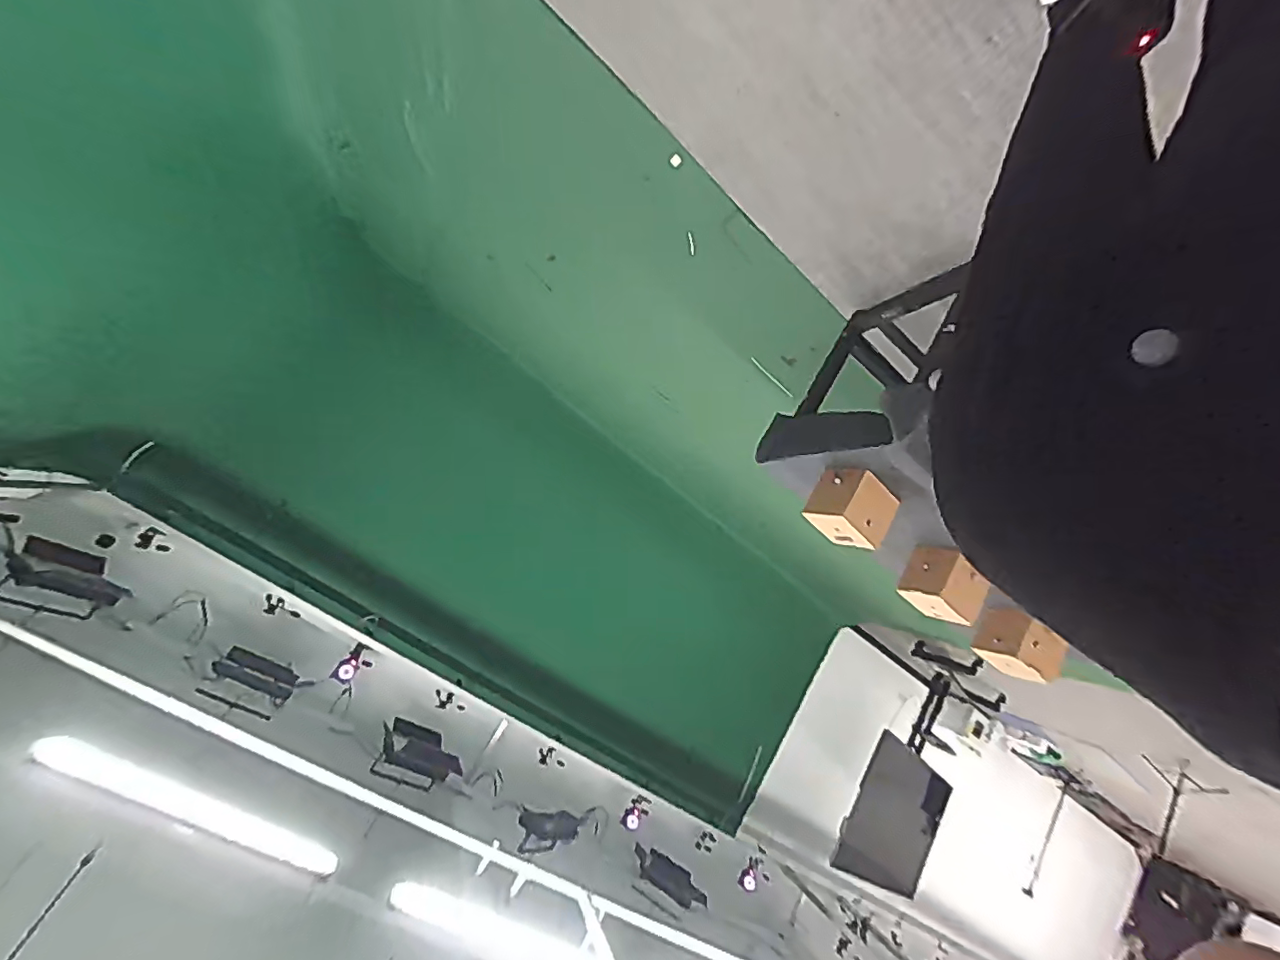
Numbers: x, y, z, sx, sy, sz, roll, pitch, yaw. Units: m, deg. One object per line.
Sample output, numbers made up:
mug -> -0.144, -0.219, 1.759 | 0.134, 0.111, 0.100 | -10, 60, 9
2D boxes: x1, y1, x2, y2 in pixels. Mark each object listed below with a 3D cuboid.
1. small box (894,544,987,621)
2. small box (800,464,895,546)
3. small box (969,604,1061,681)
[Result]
small box -> 0.961, 0.320, 1.726 | 0.179, 0.176, 0.168 | 39, 165, -18
small box -> 0.624, 0.071, 1.619 | 0.179, 0.176, 0.168 | 40, 164, -22
small box -> 1.255, 0.532, 1.799 | 0.168, 0.176, 0.179 | 37, 168, -8
